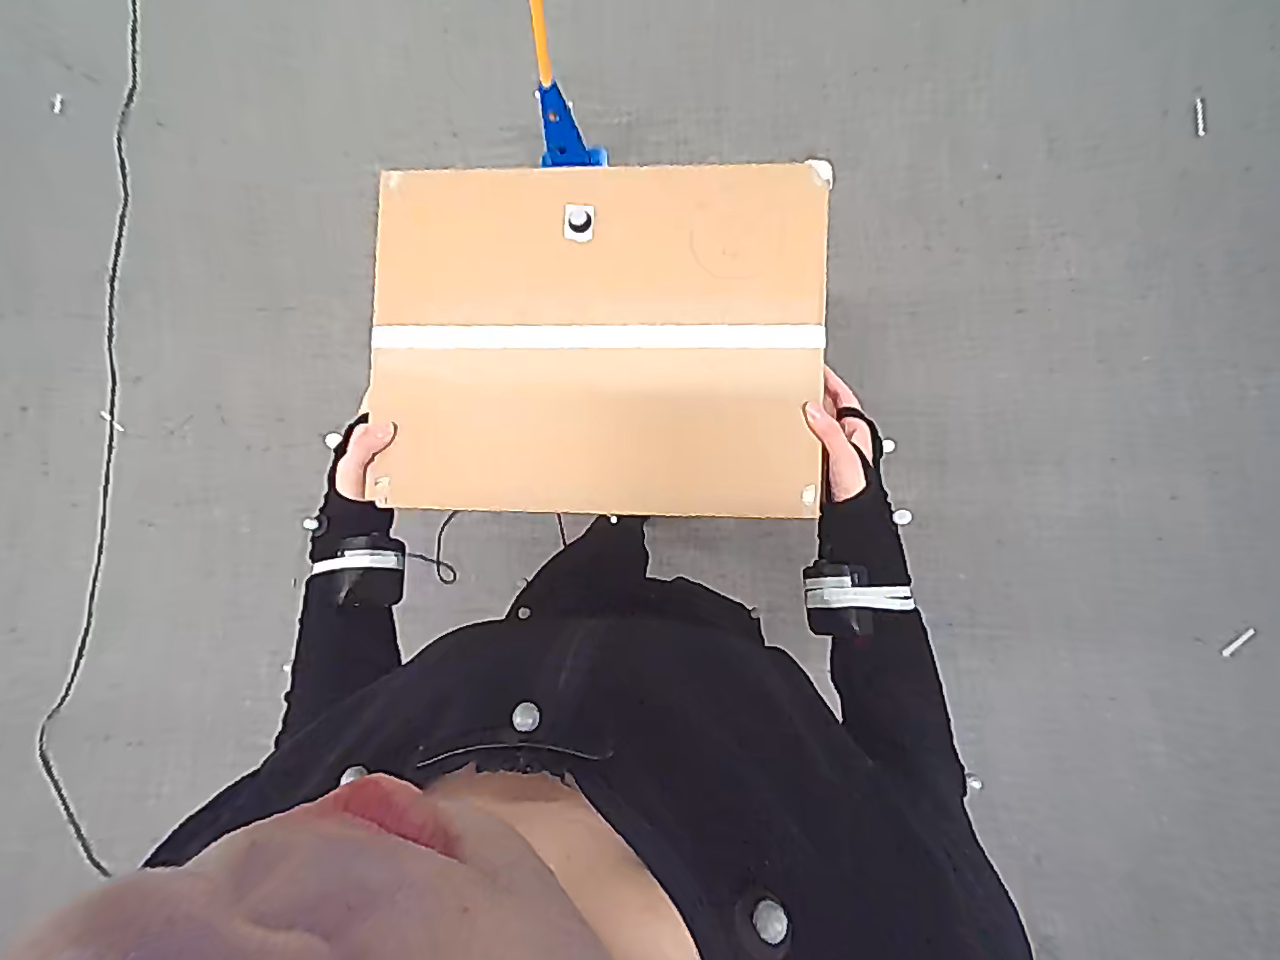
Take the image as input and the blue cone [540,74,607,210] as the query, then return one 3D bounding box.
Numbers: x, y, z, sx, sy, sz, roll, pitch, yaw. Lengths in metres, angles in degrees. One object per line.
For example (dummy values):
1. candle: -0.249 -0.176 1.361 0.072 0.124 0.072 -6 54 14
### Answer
1. blue cone: -0.201 -0.898 1.413 0.193 0.380 0.192 -3 85 2
